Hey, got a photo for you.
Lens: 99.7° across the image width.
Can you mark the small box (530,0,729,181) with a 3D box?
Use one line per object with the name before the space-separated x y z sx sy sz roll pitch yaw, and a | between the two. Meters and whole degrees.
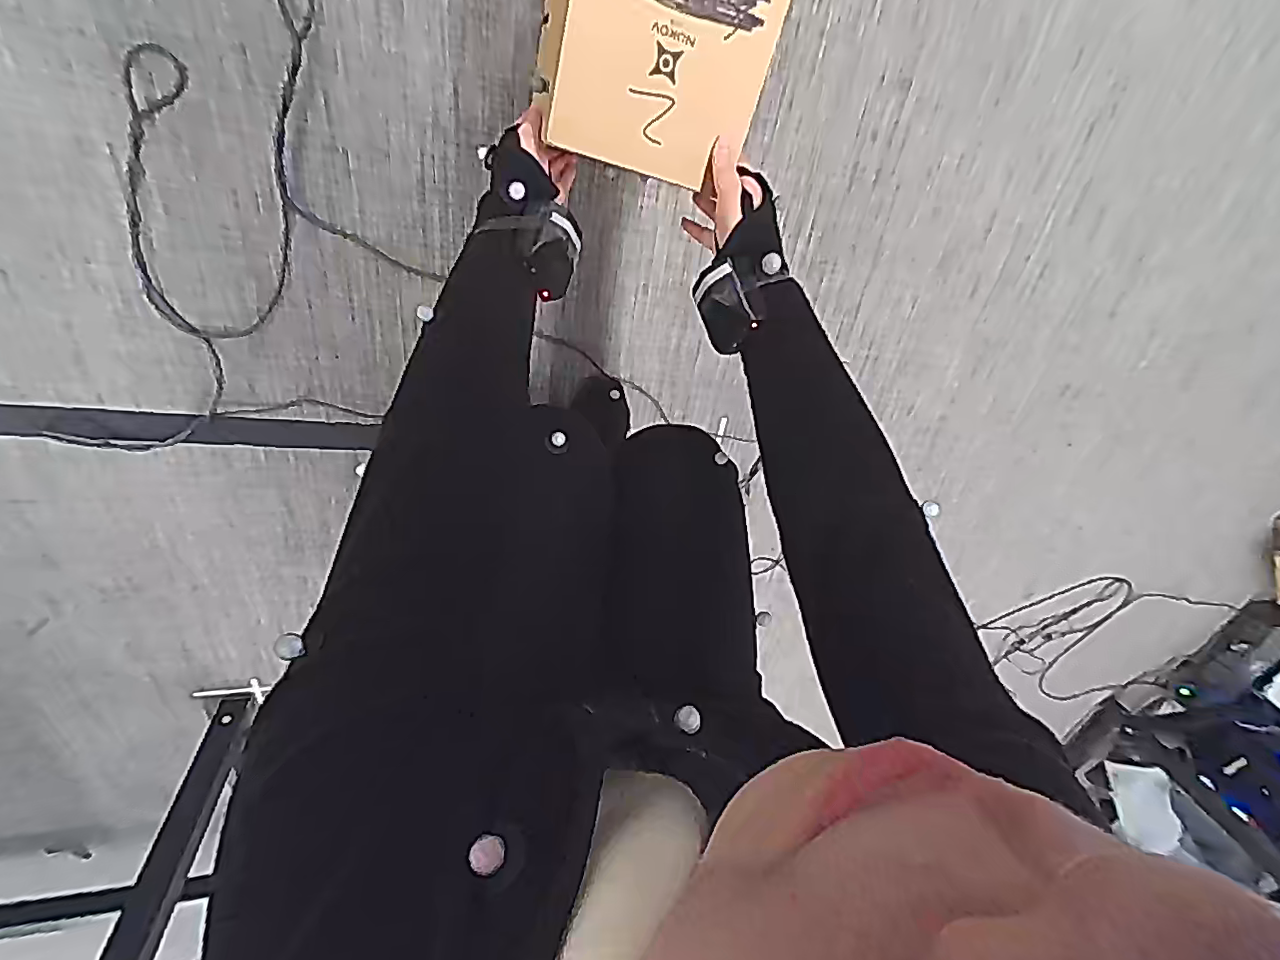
small box | -0.027 -0.461 0.624 0.179 0.176 0.168 6 120 -19
